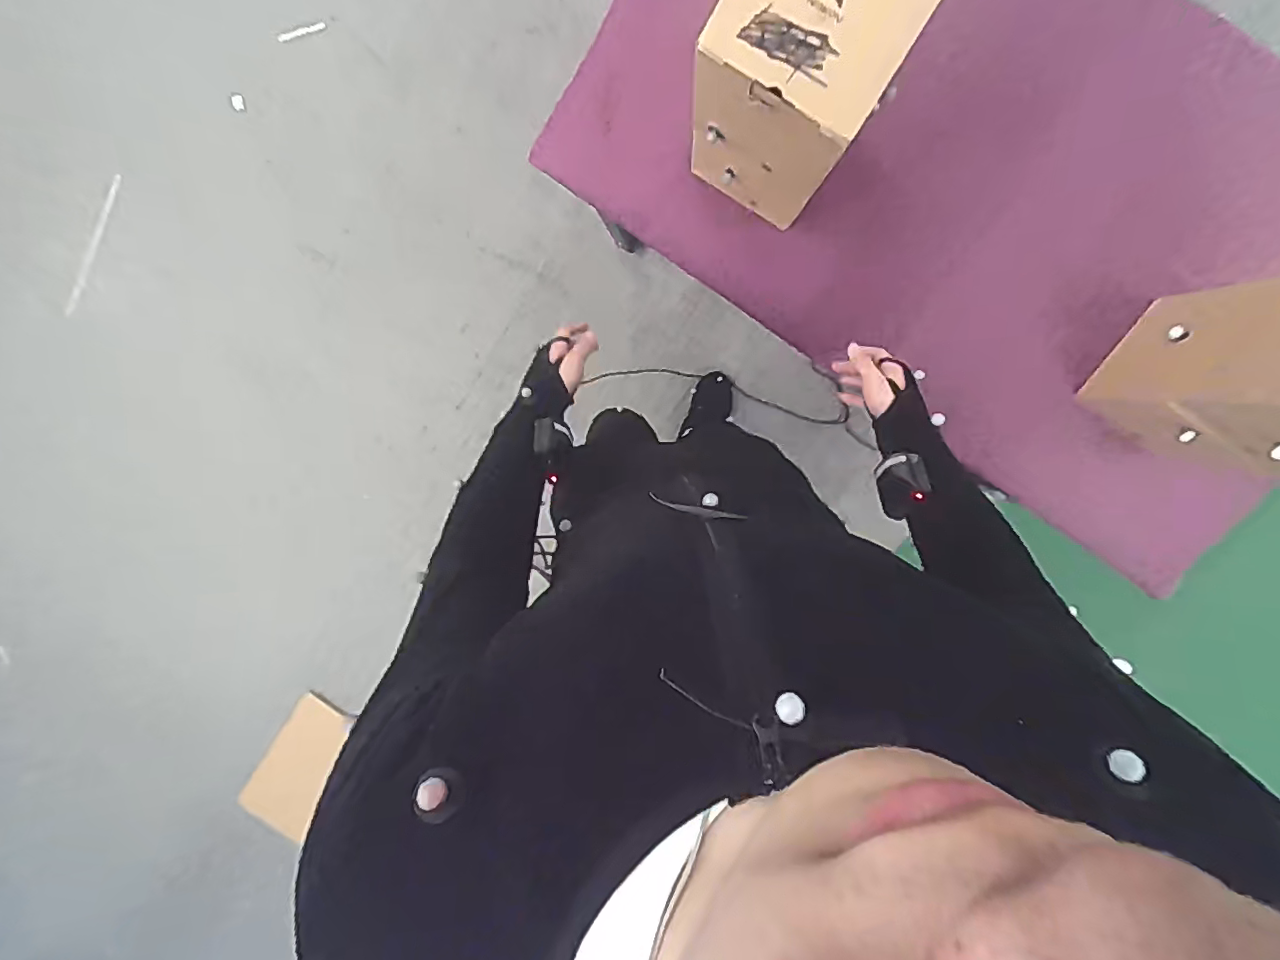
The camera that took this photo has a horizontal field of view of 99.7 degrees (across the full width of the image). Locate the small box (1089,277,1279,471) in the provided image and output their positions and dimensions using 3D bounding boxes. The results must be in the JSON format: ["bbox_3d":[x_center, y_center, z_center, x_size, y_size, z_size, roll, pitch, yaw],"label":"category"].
[{"bbox_3d":[0.765,-0.139,0.714,0.168,0.176,0.179,33,102,-1],"label":"small box"}]

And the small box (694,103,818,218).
[{"bbox_3d":[0.184,-0.471,0.695,0.168,0.176,0.179,31,103,-2],"label":"small box"}]

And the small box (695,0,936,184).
[{"bbox_3d":[0.169,-0.434,0.534,0.168,0.176,0.179,32,102,-3],"label":"small box"}]
